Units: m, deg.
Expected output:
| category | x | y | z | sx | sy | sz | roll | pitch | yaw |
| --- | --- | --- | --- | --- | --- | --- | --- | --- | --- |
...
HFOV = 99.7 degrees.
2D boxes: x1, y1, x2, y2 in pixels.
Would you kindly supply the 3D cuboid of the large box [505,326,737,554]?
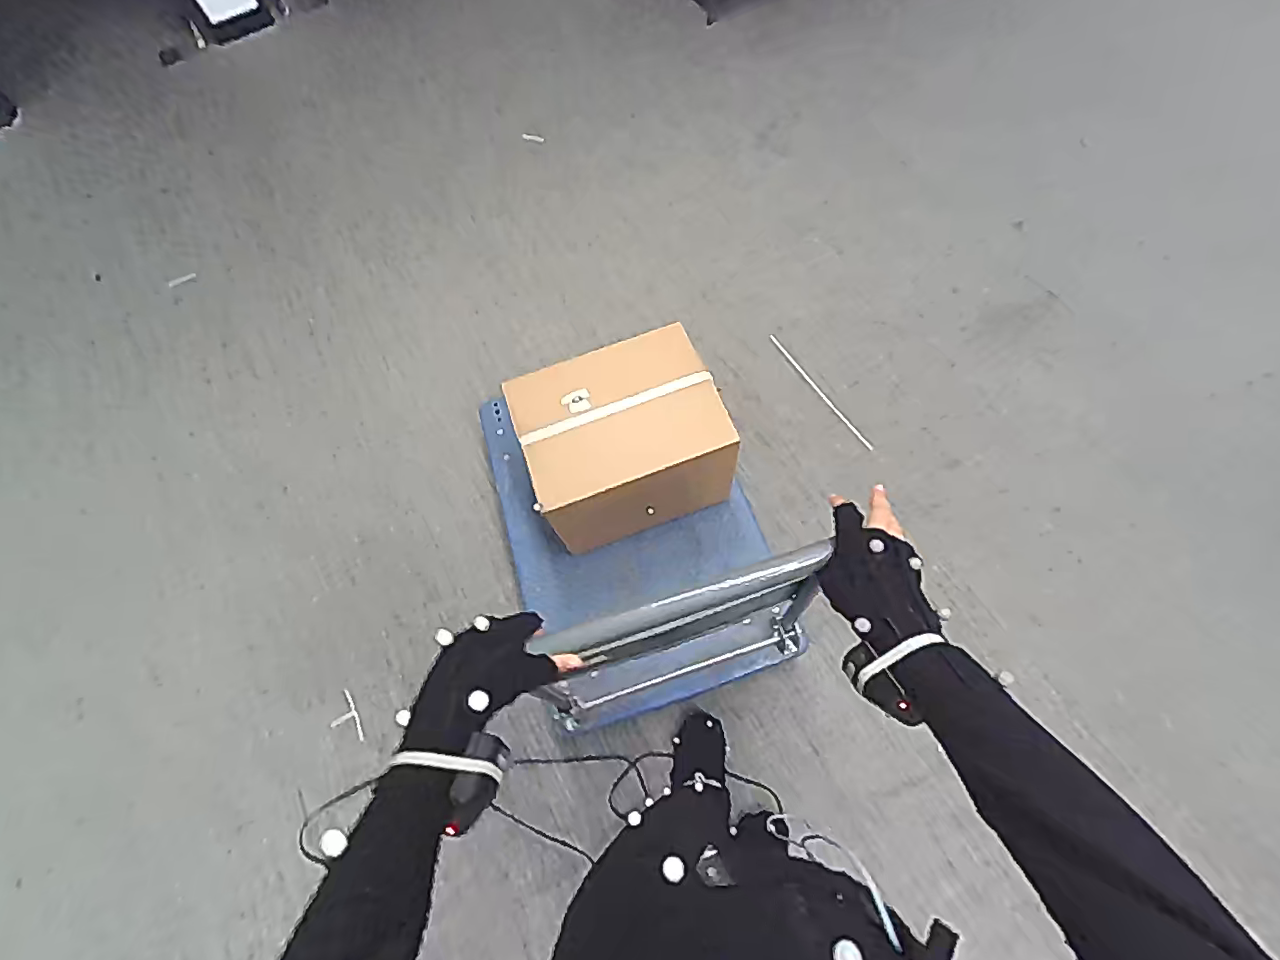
| category | x | y | z | sx | sy | sz | roll | pitch | yaw |
| --- | --- | --- | --- | --- | --- | --- | --- | --- | --- |
| large box | -0.033 | -0.074 | 1.222 | 0.408 | 0.320 | 0.320 | -21 | 66 | -3 |
